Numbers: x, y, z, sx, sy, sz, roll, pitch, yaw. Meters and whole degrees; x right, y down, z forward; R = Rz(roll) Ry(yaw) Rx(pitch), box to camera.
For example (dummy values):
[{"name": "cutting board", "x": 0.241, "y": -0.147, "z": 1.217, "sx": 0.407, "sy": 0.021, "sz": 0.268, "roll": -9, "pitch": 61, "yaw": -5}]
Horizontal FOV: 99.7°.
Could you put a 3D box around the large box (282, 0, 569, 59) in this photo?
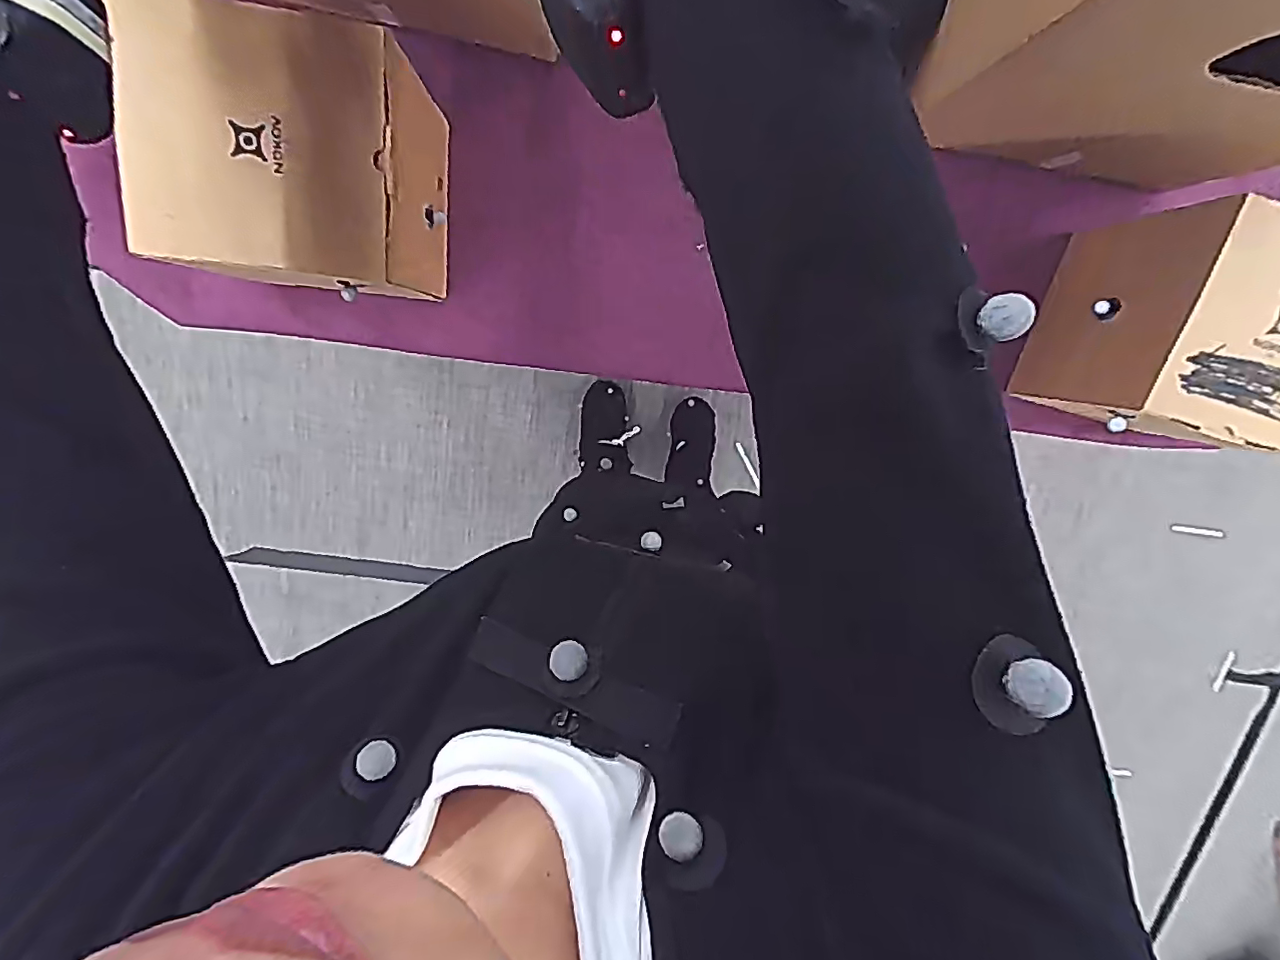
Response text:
[{"name": "large box", "x": -0.181, "y": -0.565, "z": 0.307, "sx": 0.320, "sy": 0.320, "sz": 0.408, "roll": 8, "pitch": 107, "yaw": -6}]
